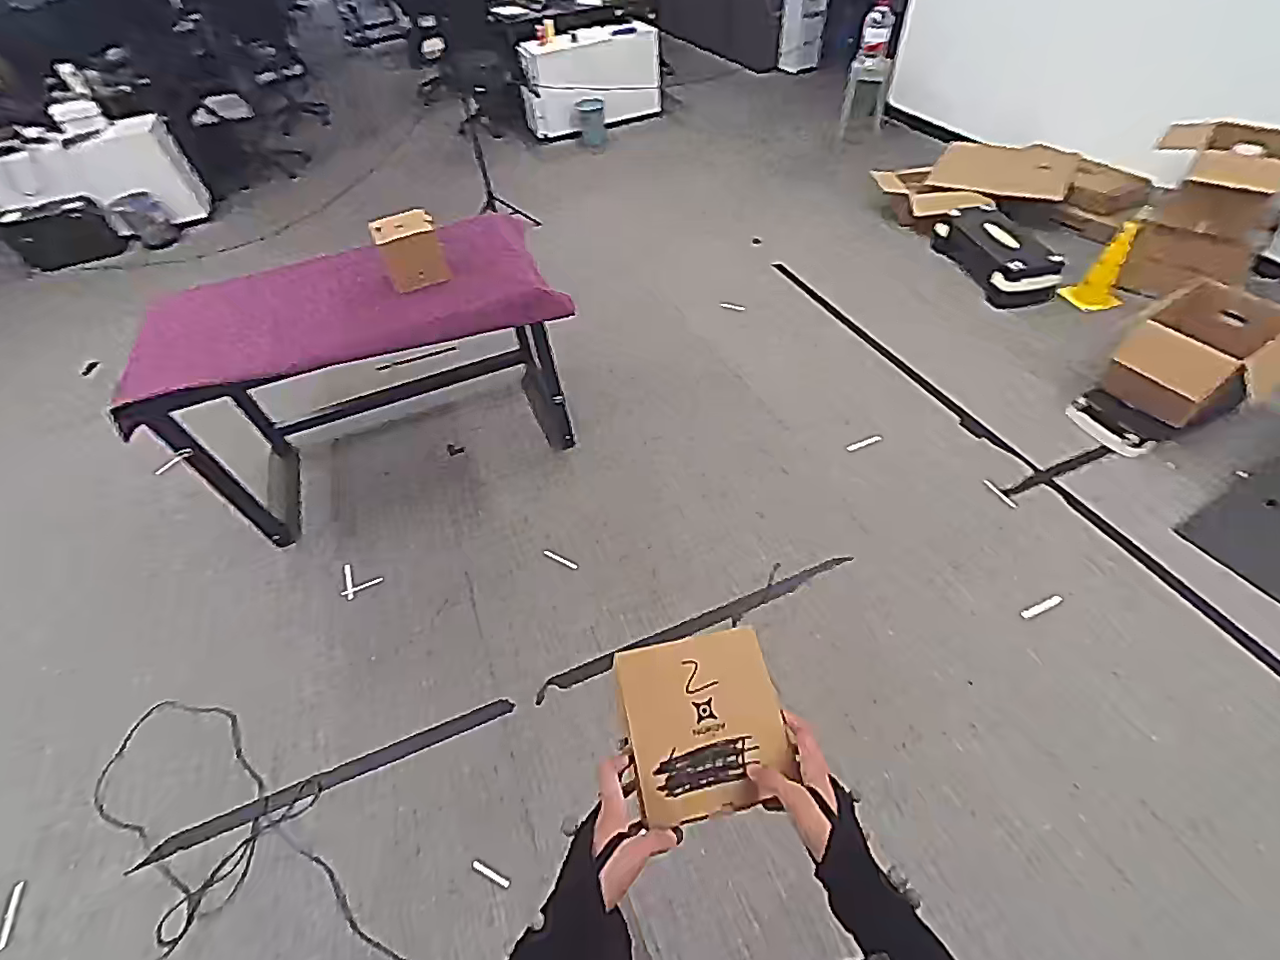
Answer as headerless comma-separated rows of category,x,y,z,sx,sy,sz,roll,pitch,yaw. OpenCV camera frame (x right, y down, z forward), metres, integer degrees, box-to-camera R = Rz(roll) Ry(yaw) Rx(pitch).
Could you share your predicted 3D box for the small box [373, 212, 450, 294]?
small box,-0.723,-0.724,1.728,0.179,0.176,0.168,-22,51,-13
